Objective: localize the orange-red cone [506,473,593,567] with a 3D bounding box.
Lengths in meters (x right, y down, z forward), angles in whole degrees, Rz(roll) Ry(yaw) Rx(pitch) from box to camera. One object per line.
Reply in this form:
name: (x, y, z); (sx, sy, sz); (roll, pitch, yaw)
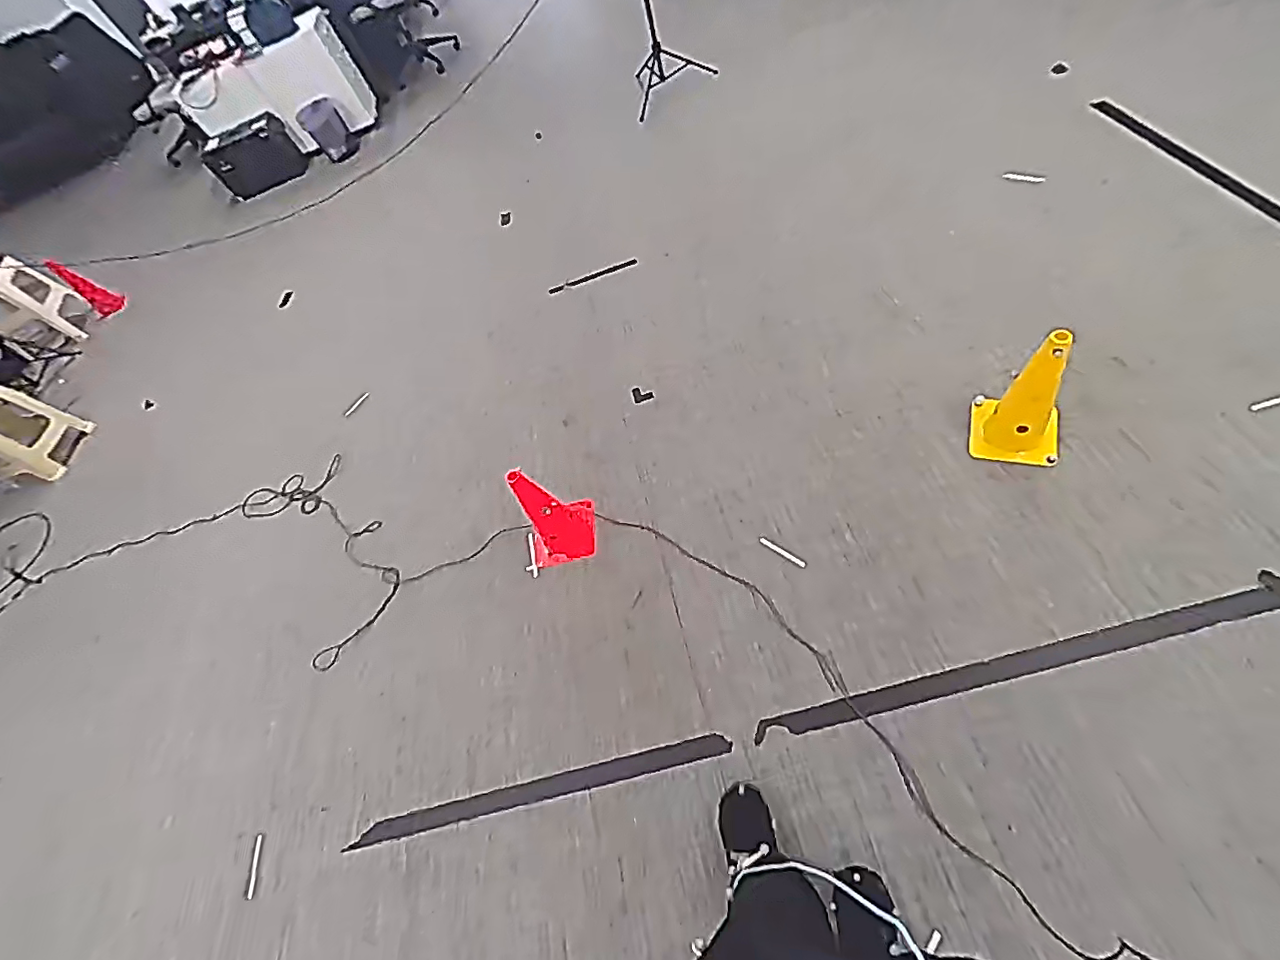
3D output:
orange-red cone: (-0.285, 0.084, 1.544); (0.199, 0.360, 0.198); (-12, 57, 9)
